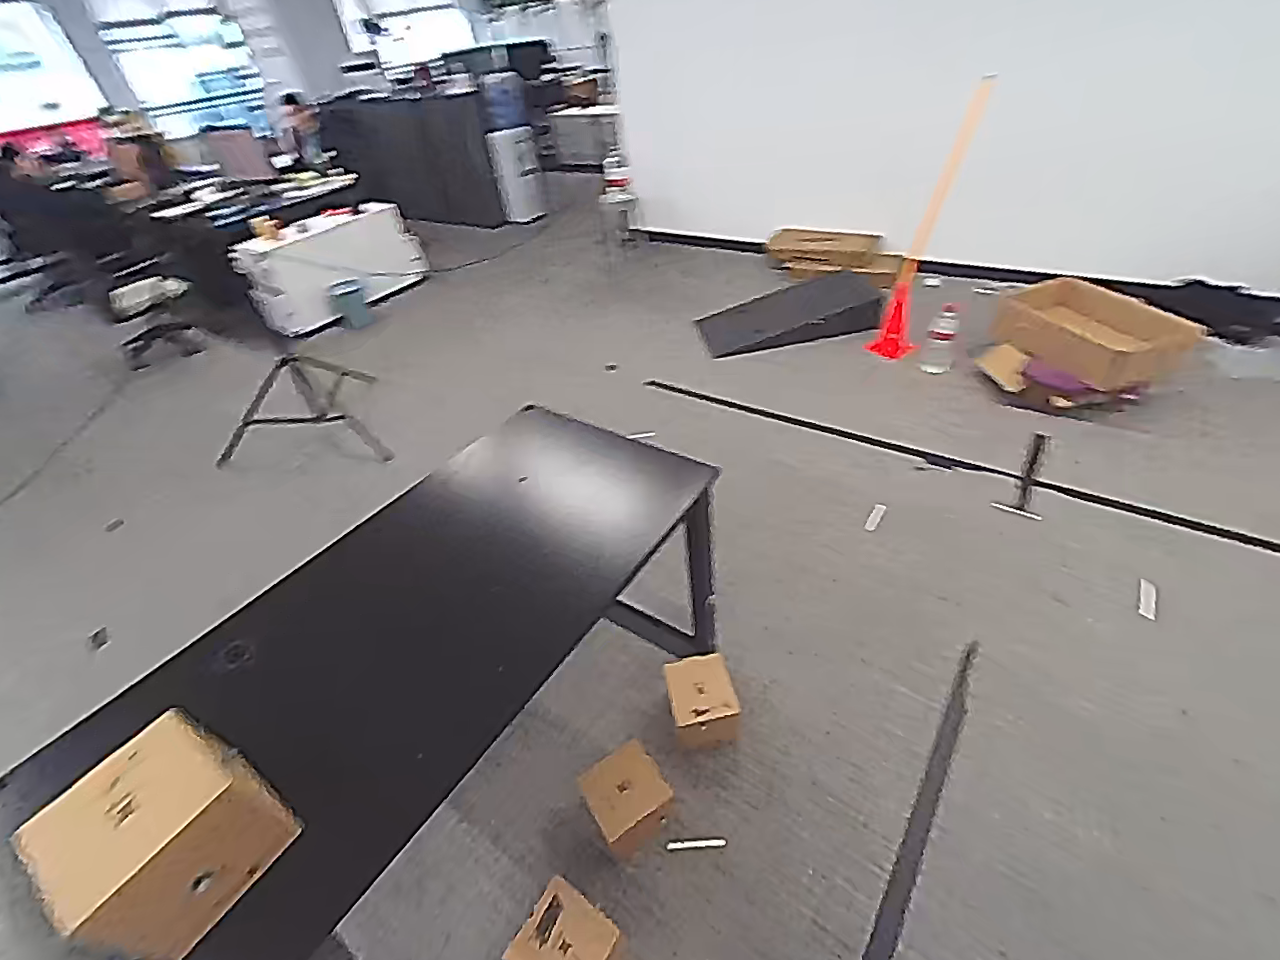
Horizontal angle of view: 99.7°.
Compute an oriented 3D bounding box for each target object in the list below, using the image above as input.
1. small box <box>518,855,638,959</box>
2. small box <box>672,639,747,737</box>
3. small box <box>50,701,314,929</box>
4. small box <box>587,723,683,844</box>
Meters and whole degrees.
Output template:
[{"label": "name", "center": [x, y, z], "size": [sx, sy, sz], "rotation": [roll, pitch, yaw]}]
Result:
[{"label": "small box", "center": [-0.123, 0.944, 1.136], "size": [0.179, 0.176, 0.168], "rotation": [22, 51, 28]}, {"label": "small box", "center": [0.188, 0.572, 1.486], "size": [0.168, 0.176, 0.179], "rotation": [-12, 42, -3]}, {"label": "small box", "center": [-0.565, 0.427, 0.690], "size": [0.179, 0.176, 0.168], "rotation": [19, 49, 29]}, {"label": "small box", "center": [-0.006, 0.748, 1.333], "size": [0.179, 0.176, 0.168], "rotation": [-29, 45, -19]}]
